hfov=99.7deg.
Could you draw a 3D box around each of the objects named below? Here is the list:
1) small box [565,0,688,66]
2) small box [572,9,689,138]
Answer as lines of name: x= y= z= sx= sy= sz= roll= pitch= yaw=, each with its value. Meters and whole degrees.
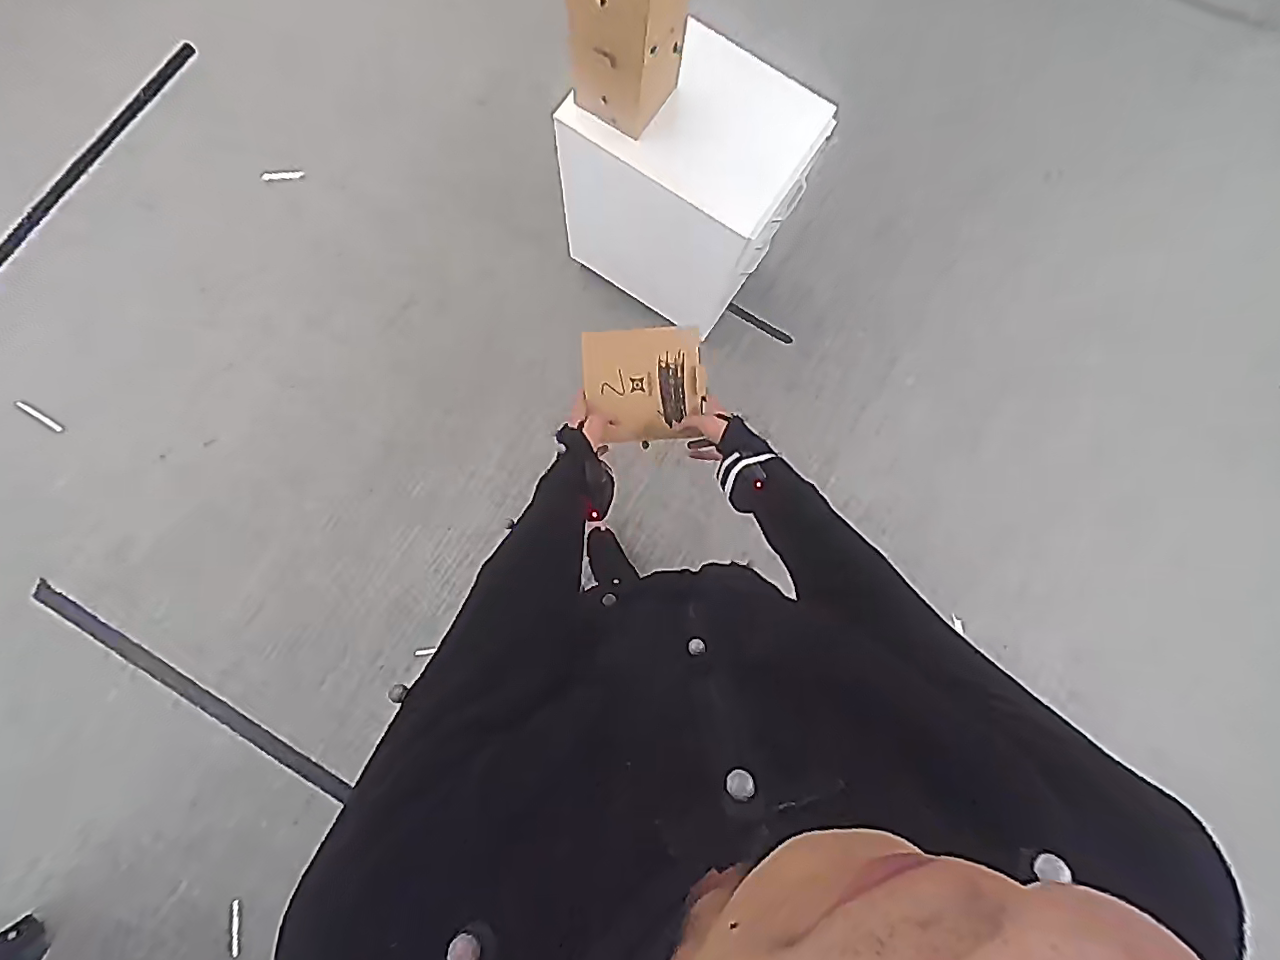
small box: x=-0.018 y=-0.877 z=0.940 sx=0.179 sy=0.176 sz=0.168 roll=33 pitch=81 yaw=2
small box: x=-0.023 y=-0.859 z=1.104 sx=0.168 sy=0.176 sz=0.179 roll=32 pitch=82 yaw=2
